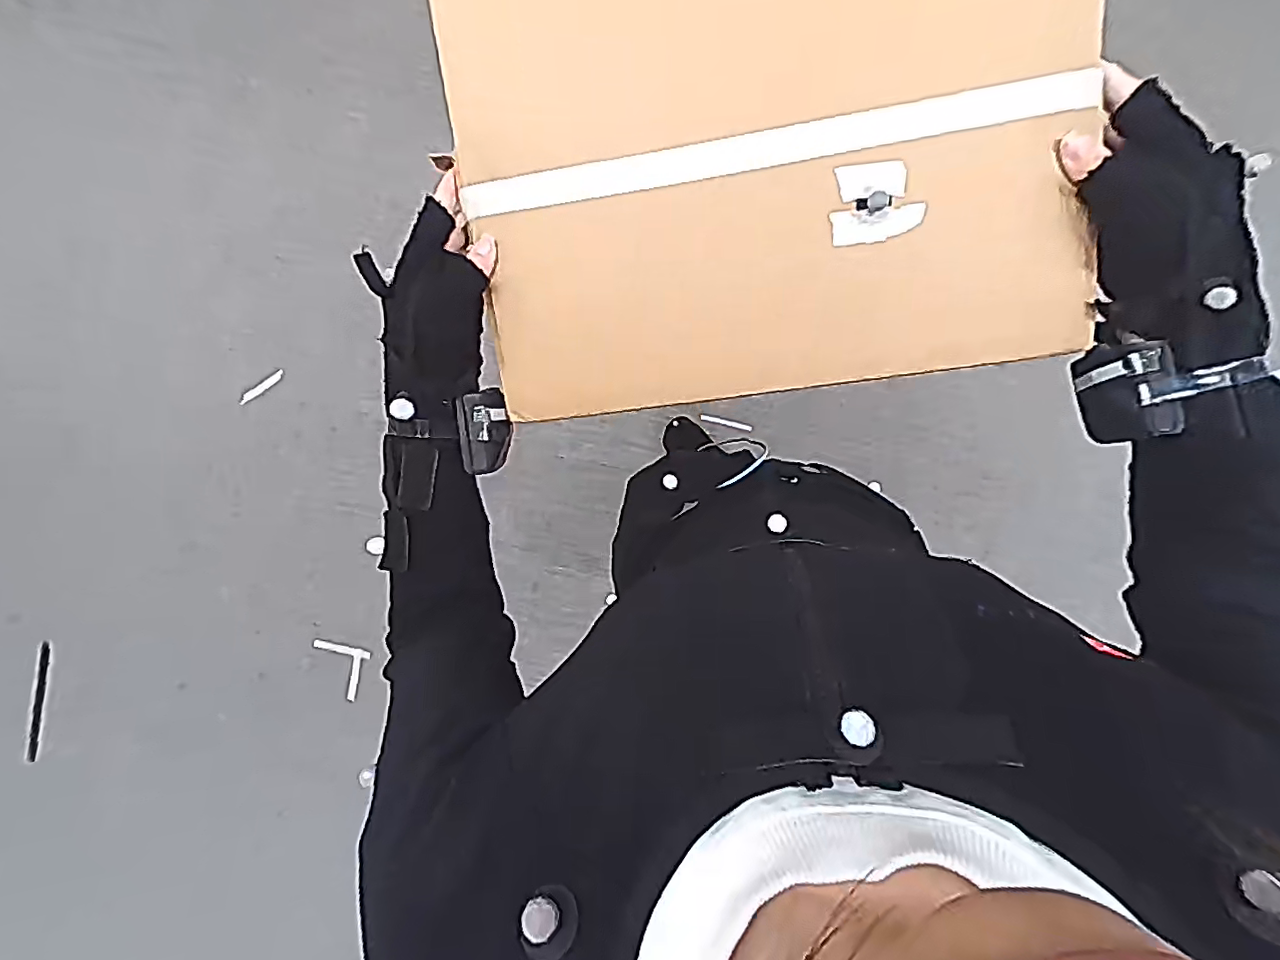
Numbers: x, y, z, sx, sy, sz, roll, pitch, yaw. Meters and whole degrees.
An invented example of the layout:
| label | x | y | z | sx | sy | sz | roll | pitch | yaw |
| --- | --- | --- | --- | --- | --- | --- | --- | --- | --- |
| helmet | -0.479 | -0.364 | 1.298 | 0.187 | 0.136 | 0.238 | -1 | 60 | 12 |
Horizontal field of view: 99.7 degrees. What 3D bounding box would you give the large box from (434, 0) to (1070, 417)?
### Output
| label | x | y | z | sx | sy | sz | roll | pitch | yaw |
| --- | --- | --- | --- | --- | --- | --- | --- | --- | --- |
| large box | 0.087 | -0.255 | 0.512 | 0.408 | 0.320 | 0.320 | -8 | 103 | 6 |
